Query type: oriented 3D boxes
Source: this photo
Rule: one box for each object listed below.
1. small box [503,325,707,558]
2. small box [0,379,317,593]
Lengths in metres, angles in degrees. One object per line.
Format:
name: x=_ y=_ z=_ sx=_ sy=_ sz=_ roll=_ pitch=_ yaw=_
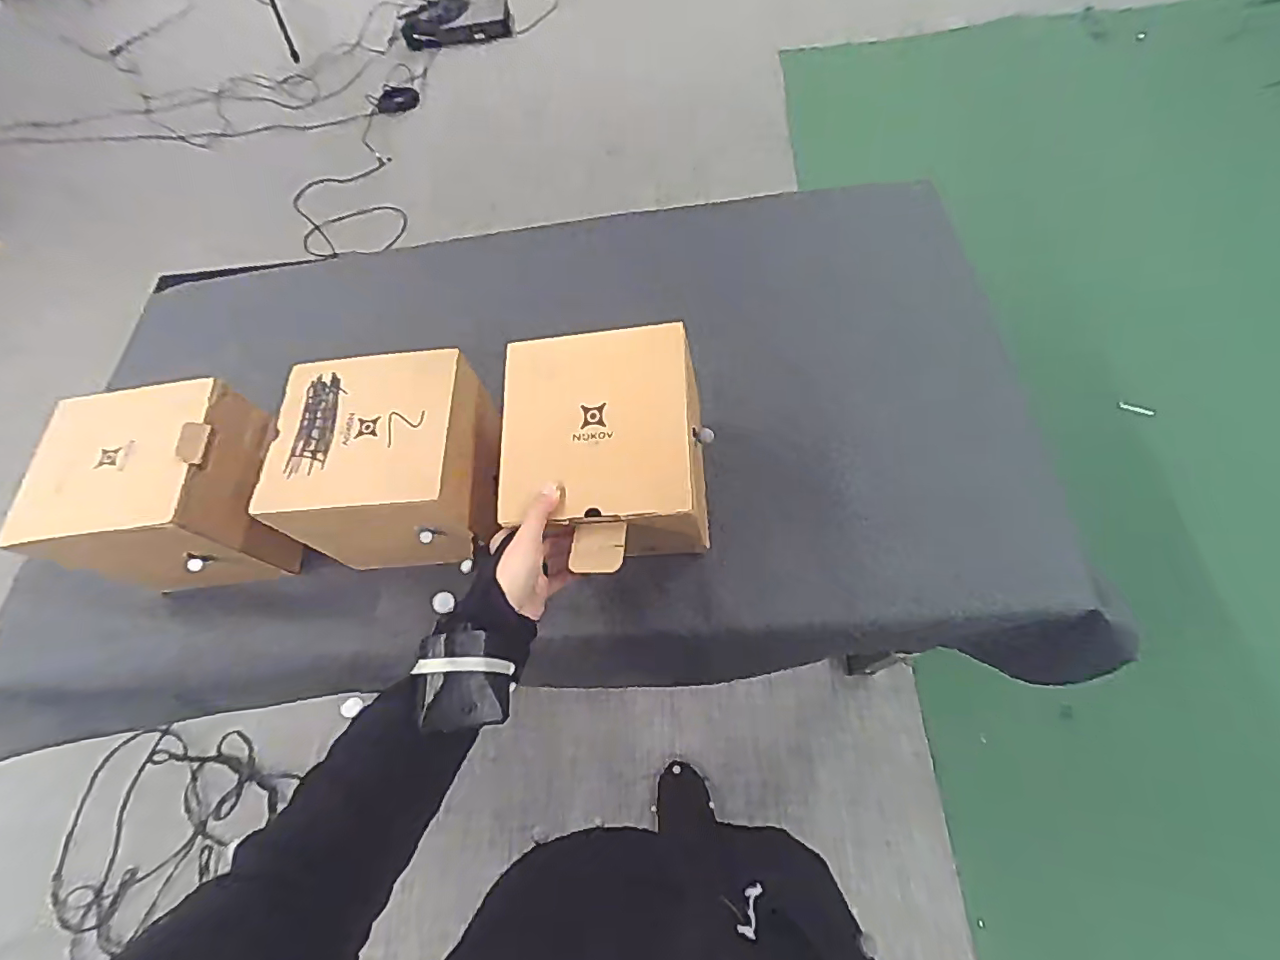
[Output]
small box: x=-0.022 y=-0.026 z=0.538 sx=0.168 sy=0.176 sz=0.179 roll=-5 pitch=72 yaw=8
small box: x=-0.493 y=0.015 z=0.590 sx=0.179 sy=0.176 sz=0.168 roll=-9 pitch=62 yaw=3
